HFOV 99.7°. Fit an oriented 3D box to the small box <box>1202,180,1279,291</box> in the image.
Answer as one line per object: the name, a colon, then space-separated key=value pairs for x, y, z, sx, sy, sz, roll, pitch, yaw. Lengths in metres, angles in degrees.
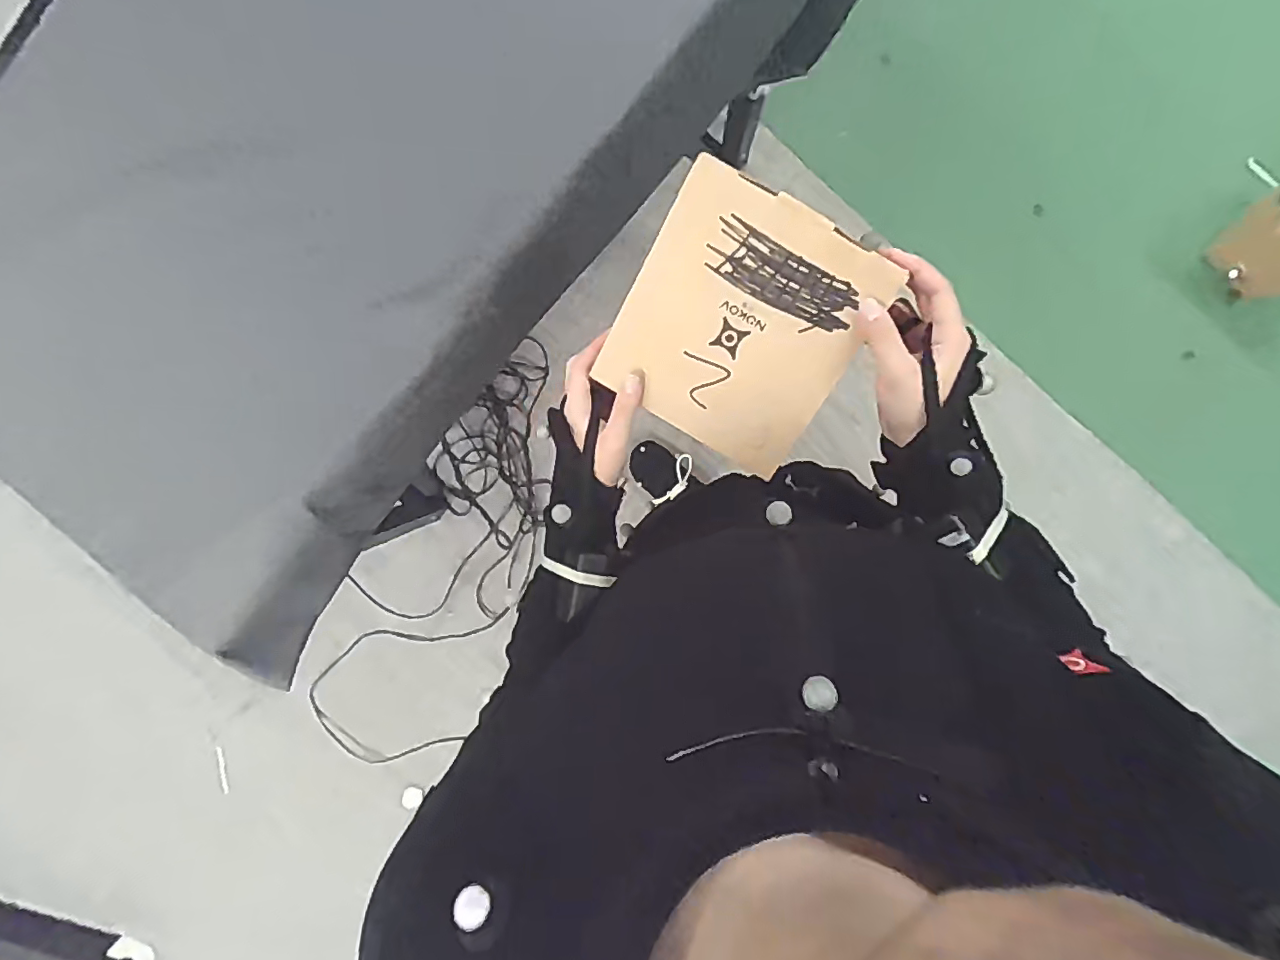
small box: x=1.399 y=-0.541 z=1.161 sx=0.168 sy=0.176 sz=0.179 roll=41 pitch=97 yaw=-1
